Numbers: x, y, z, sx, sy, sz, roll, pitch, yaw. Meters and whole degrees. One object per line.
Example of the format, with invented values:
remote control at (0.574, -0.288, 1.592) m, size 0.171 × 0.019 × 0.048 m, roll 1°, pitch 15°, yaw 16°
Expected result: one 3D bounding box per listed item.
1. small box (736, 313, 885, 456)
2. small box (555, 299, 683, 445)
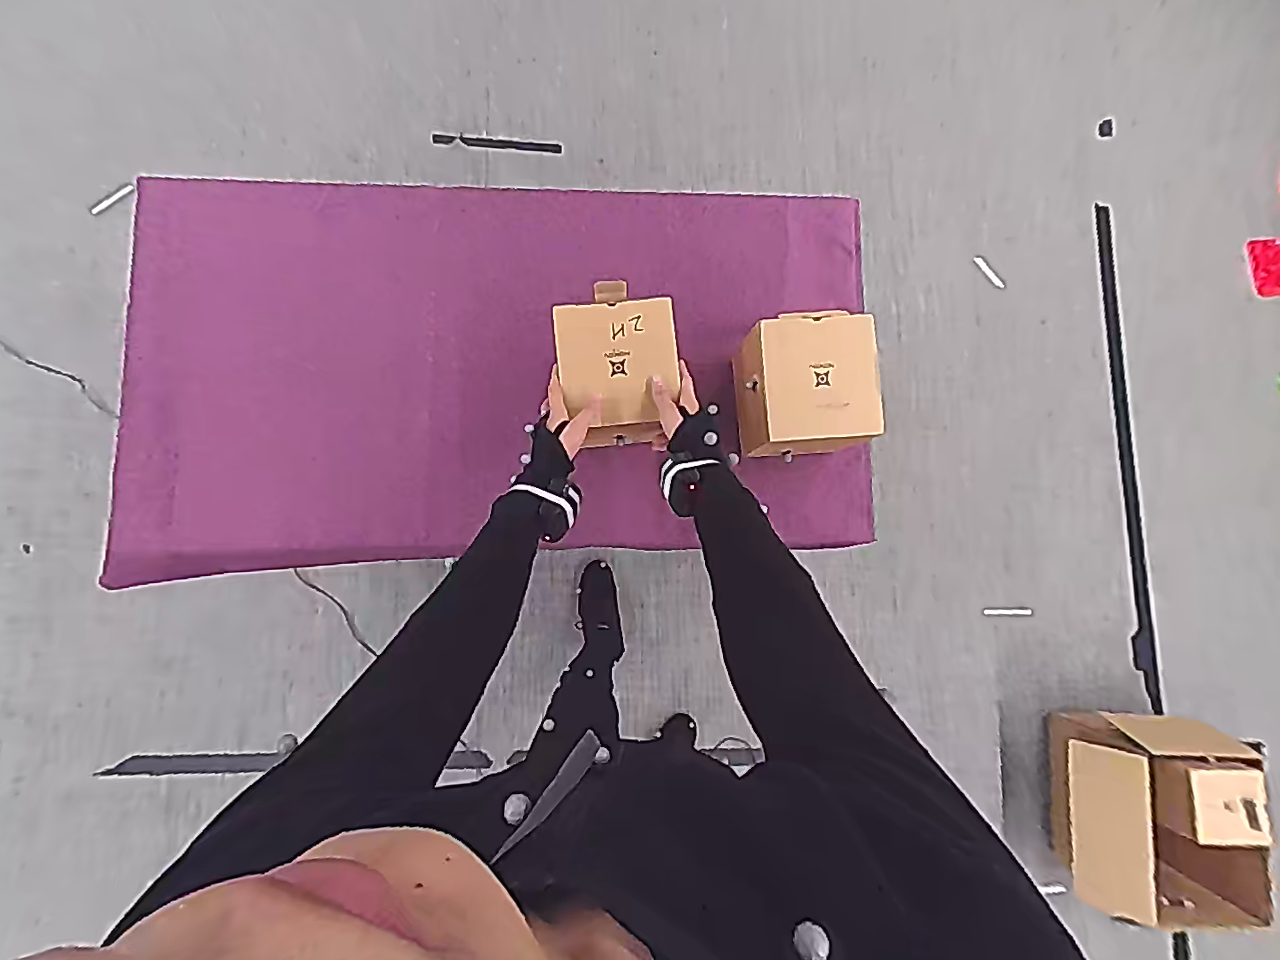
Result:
small box at (0.250, -0.140, 0.835) m, size 0.168 × 0.176 × 0.179 m, roll -4°, pitch 84°, yaw -3°
small box at (-0.031, -0.151, 0.815) m, size 0.168 × 0.176 × 0.179 m, roll -6°, pitch 84°, yaw -3°
